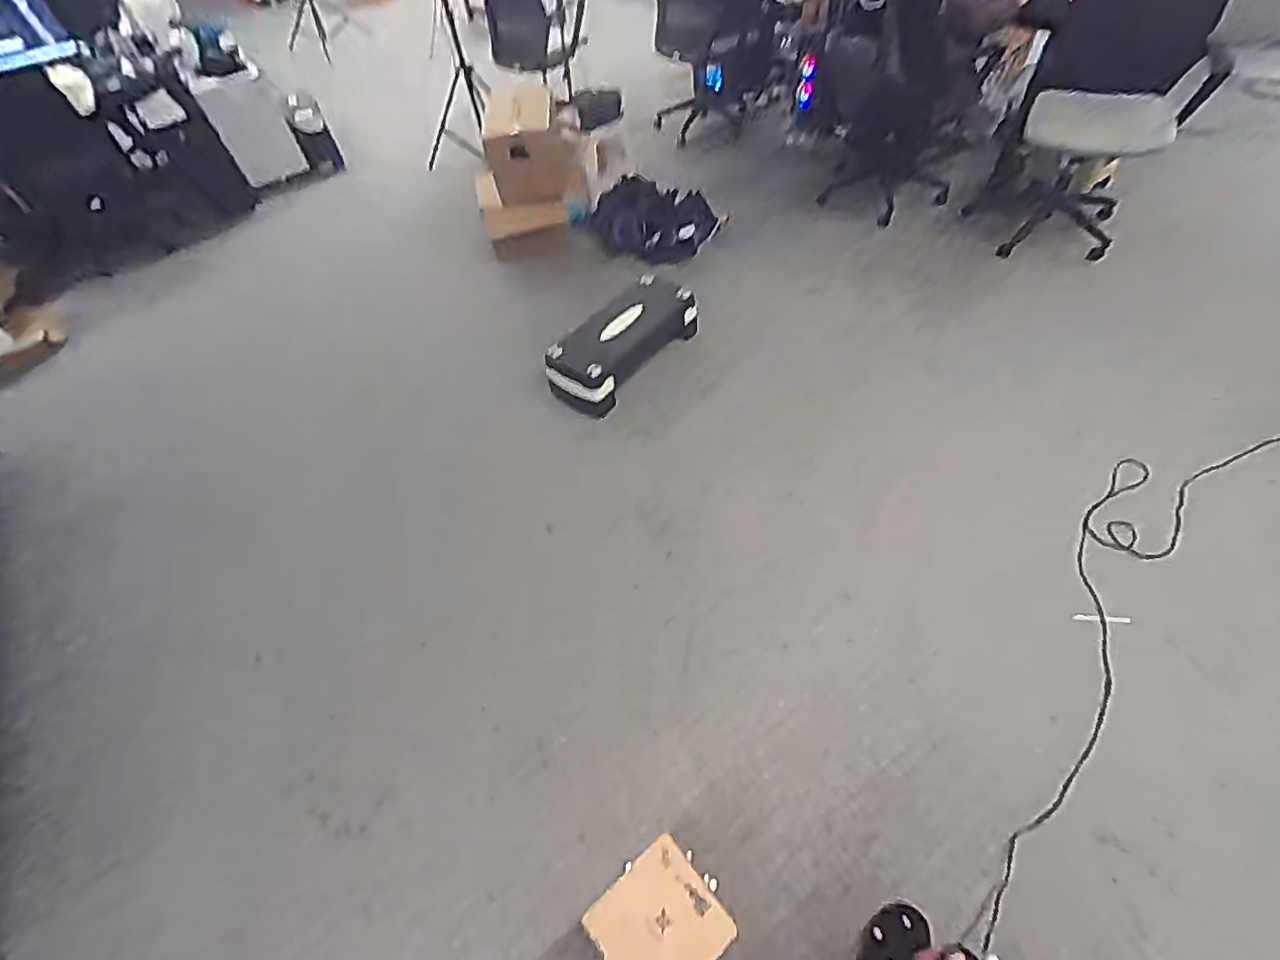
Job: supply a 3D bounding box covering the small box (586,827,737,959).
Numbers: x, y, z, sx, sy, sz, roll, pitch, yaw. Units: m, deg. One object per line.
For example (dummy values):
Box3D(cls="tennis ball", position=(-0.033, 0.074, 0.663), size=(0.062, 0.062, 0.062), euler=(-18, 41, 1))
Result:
Box3D(cls="small box", position=(0.042, 0.705, 0.874), size=(0.179, 0.176, 0.168), euler=(-38, 57, -18))
